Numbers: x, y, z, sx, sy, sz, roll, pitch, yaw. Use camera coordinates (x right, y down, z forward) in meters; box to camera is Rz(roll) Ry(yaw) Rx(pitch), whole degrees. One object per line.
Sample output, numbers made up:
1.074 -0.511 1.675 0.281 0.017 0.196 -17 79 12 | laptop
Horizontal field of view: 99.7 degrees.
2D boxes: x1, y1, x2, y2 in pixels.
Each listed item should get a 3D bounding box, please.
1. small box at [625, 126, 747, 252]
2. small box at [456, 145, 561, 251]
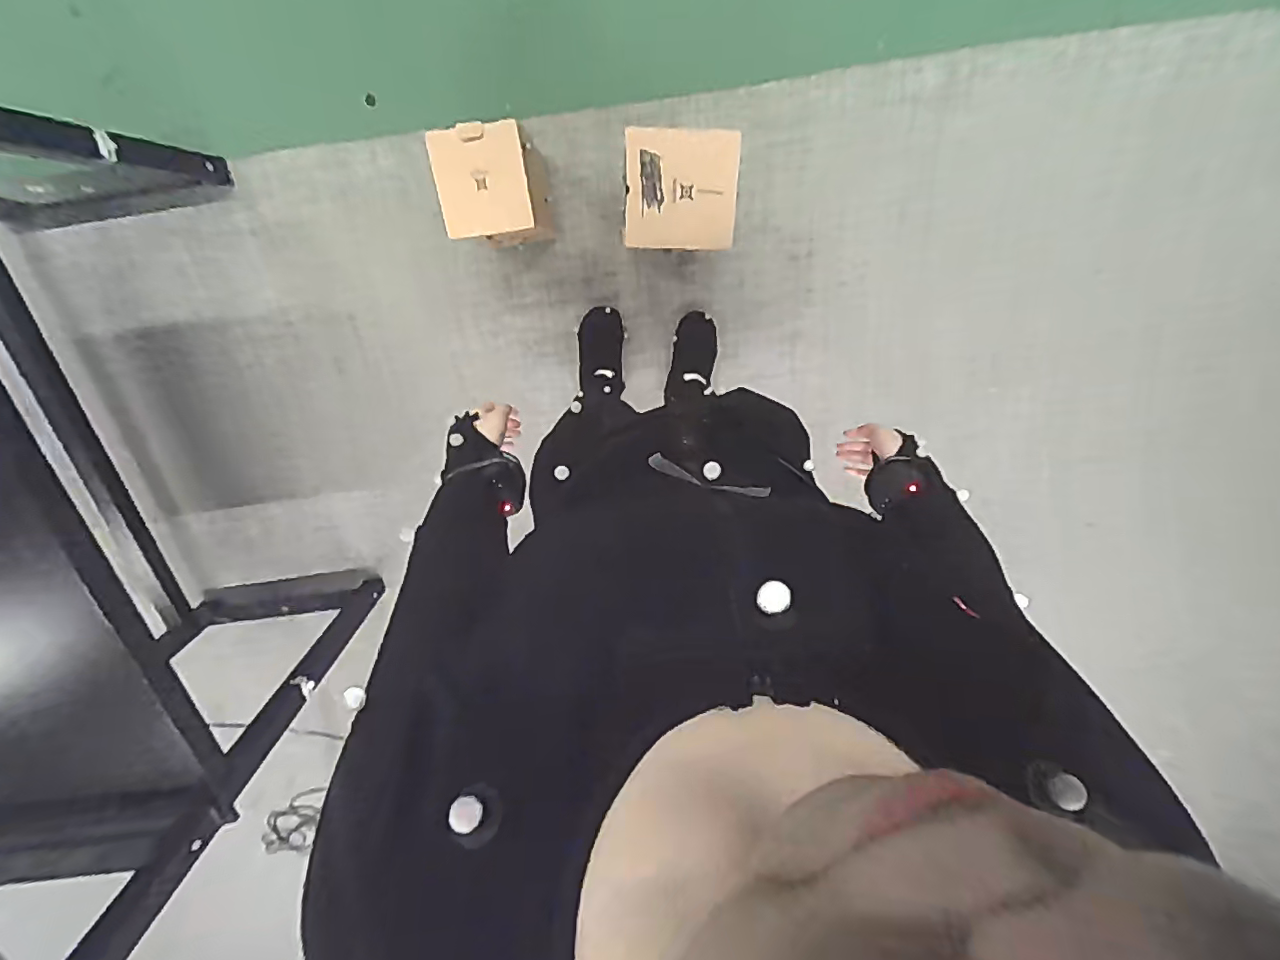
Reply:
0.067 -0.467 0.889 0.179 0.176 0.168 1 113 -1 | small box
-0.276 -0.609 1.183 0.168 0.176 0.179 -8 113 3 | small box
